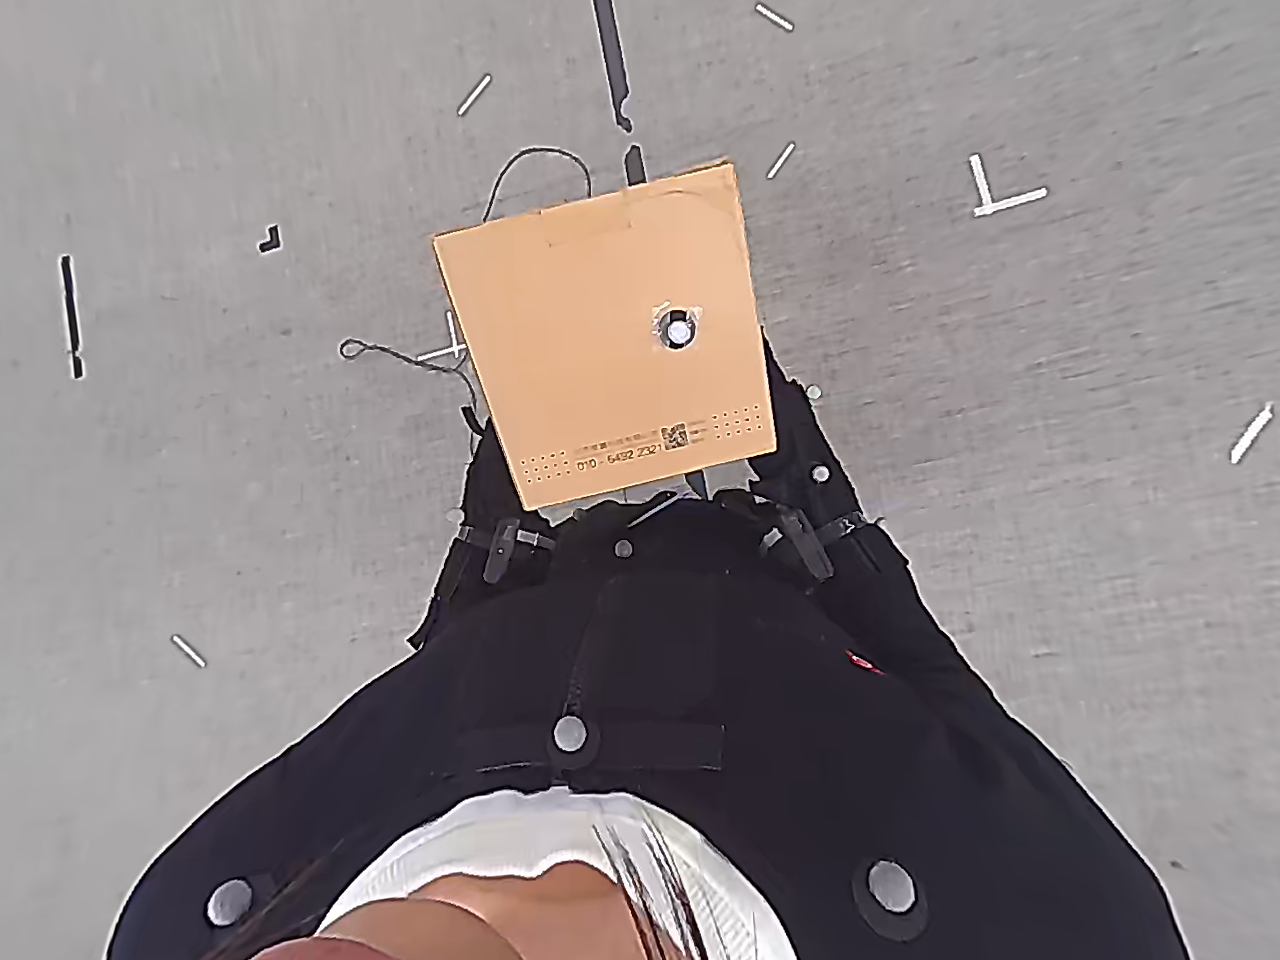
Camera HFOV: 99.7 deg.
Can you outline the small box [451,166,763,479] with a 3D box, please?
[{"bbox_3d":[-0.014,-0.111,0.407,0.168,0.179,0.176,-13,113,2],"label":"small box"}]
